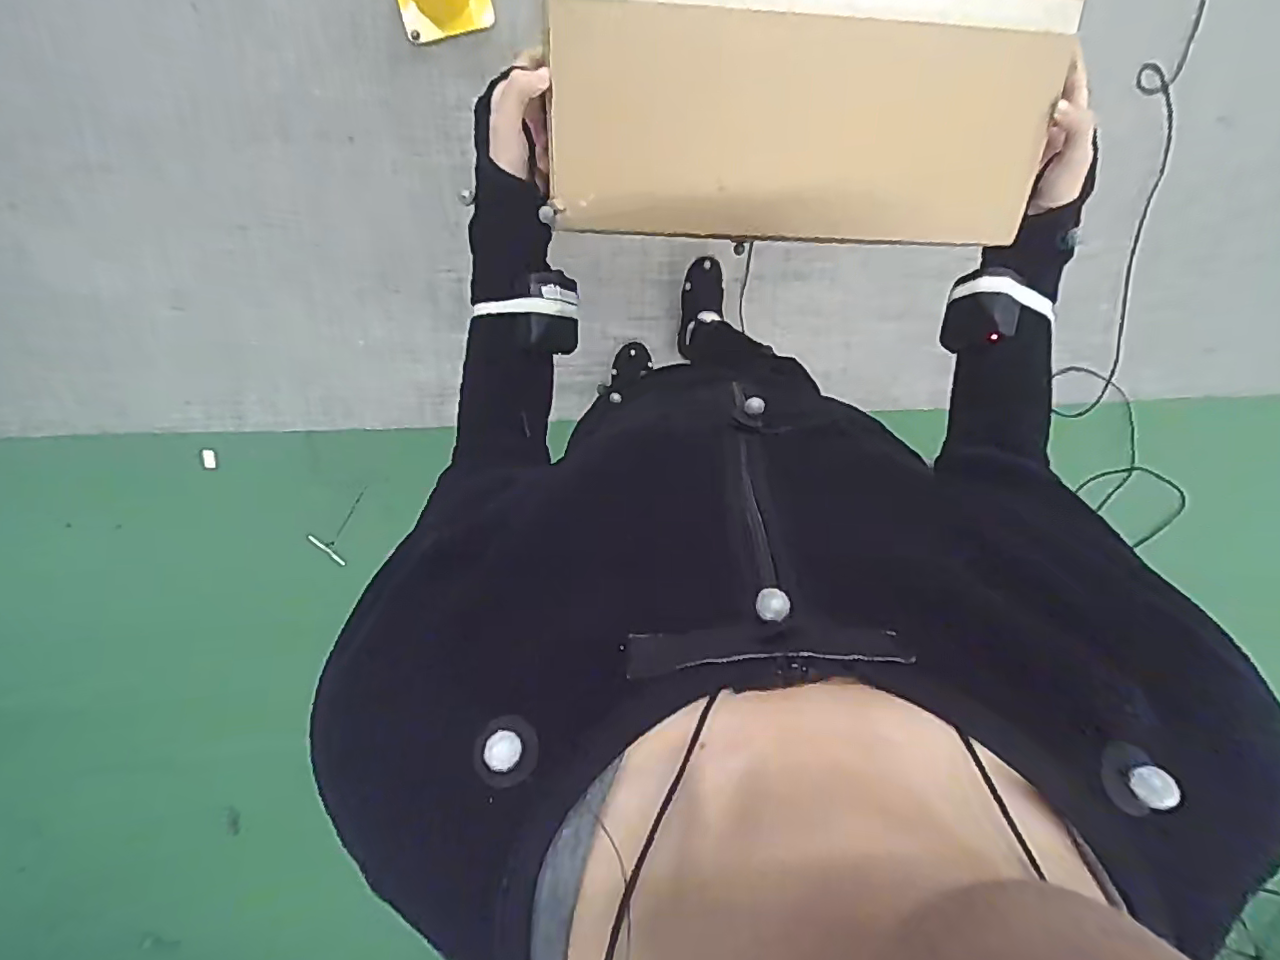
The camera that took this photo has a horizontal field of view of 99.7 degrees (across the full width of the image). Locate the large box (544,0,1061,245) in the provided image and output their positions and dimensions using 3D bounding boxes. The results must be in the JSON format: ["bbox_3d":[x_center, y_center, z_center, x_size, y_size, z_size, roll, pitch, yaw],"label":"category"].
[{"bbox_3d":[0.116,-0.414,0.545,0.408,0.320,0.320,-1,114,-6],"label":"large box"}]
